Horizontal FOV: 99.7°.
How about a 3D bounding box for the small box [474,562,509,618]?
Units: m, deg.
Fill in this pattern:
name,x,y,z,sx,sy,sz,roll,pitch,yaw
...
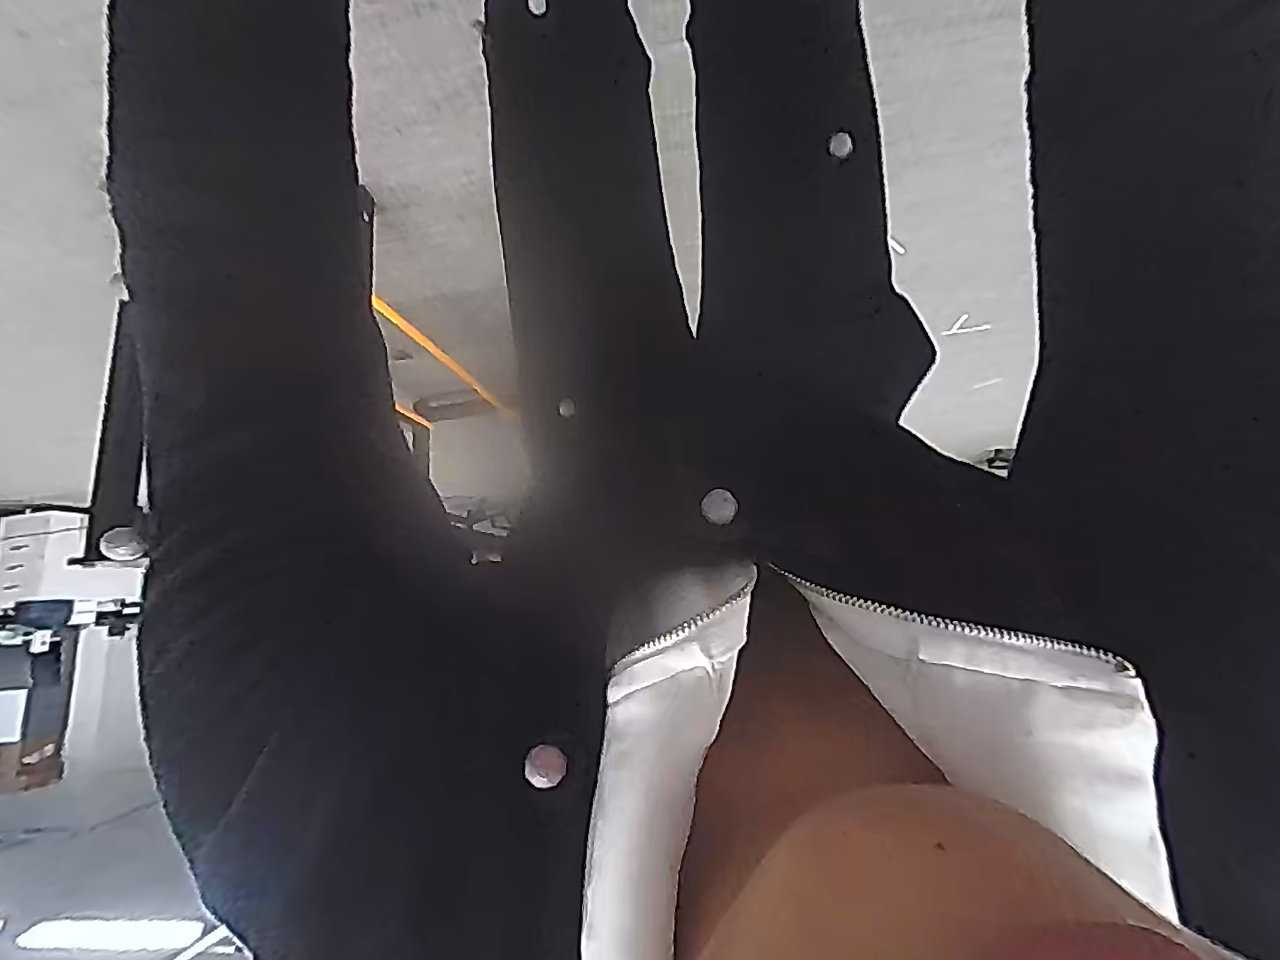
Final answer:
name,x,y,z,sx,sy,sz,roll,pitch,yaw
small box,-0.548,0.368,1.795,0.179,0.176,0.168,-7,169,8
